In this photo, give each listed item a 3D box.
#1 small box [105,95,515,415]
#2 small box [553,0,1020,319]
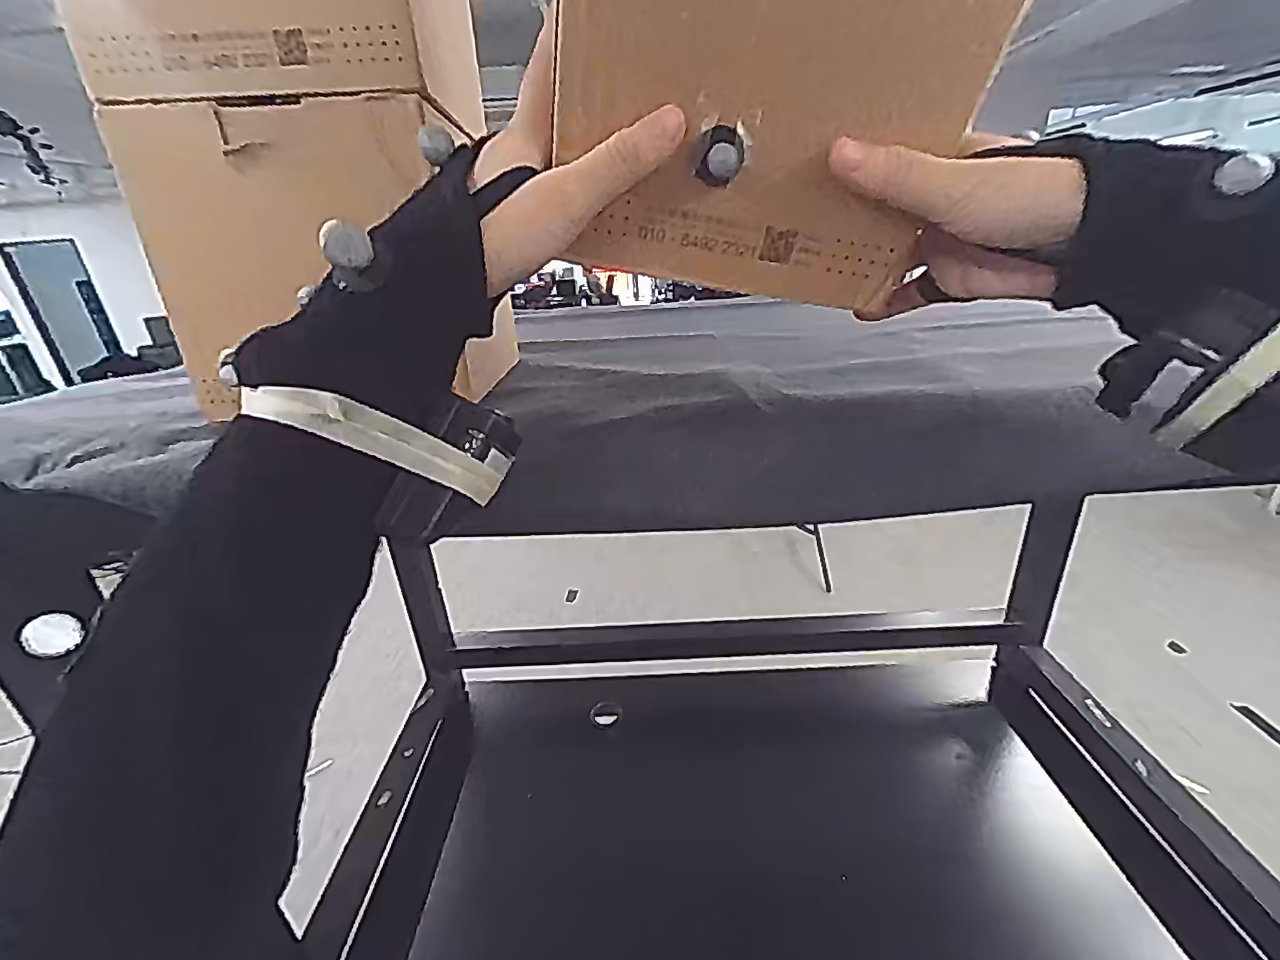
[{"bbox_3d":[-0.191,-0.144,0.382,0.168,0.176,0.179,-3,21,-1],"label":"small box"},{"bbox_3d":[0.048,-0.203,0.276,0.168,0.176,0.179,6,39,-7],"label":"small box"}]
